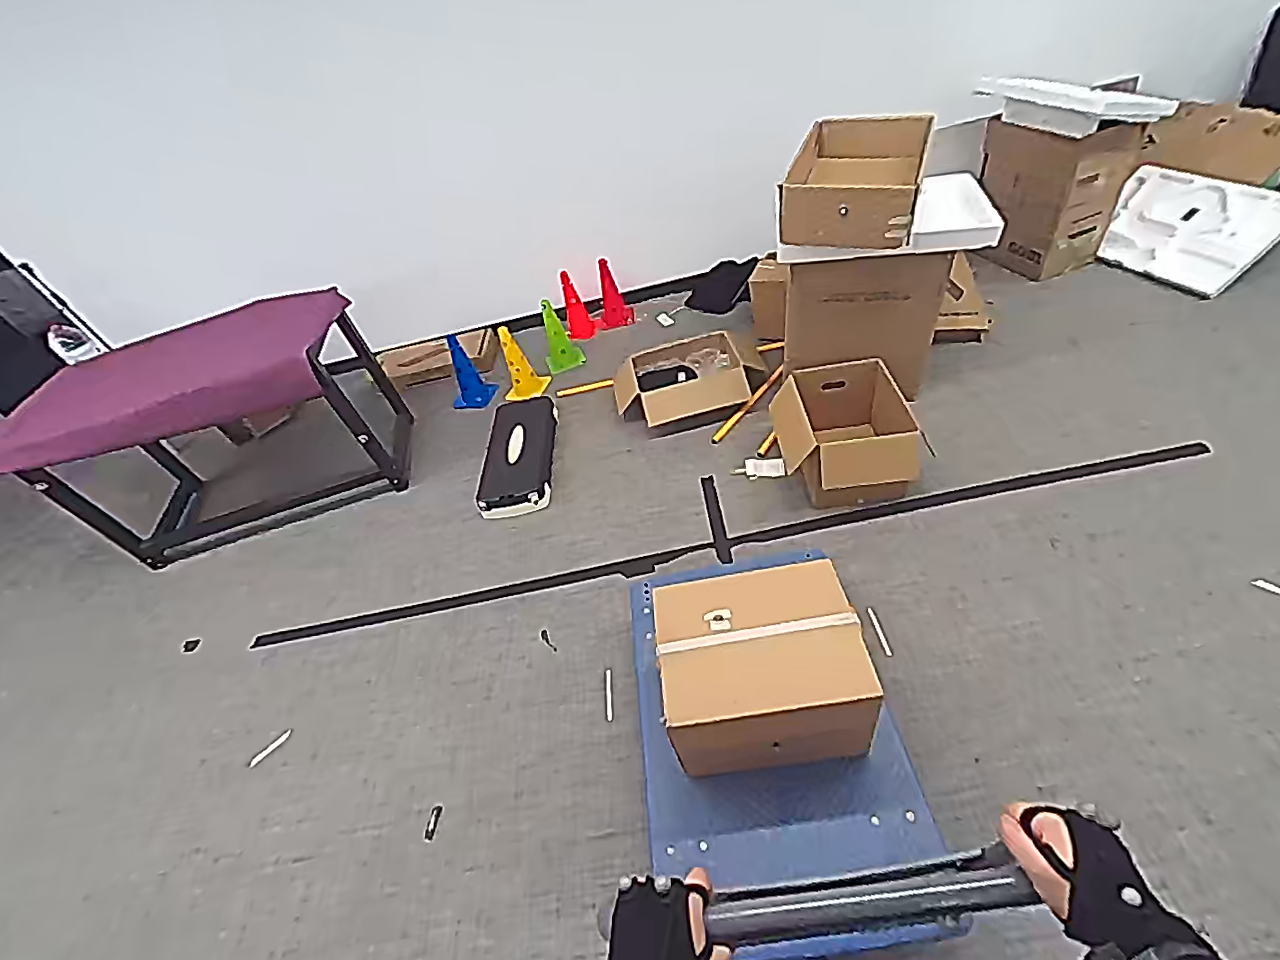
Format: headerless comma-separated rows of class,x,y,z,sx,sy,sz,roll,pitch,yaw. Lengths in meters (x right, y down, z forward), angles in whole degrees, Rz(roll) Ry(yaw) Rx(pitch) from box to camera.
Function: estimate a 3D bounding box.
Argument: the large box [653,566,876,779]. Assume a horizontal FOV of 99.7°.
large box,0.266,0.440,1.222,0.408,0.320,0.320,-12,43,6
